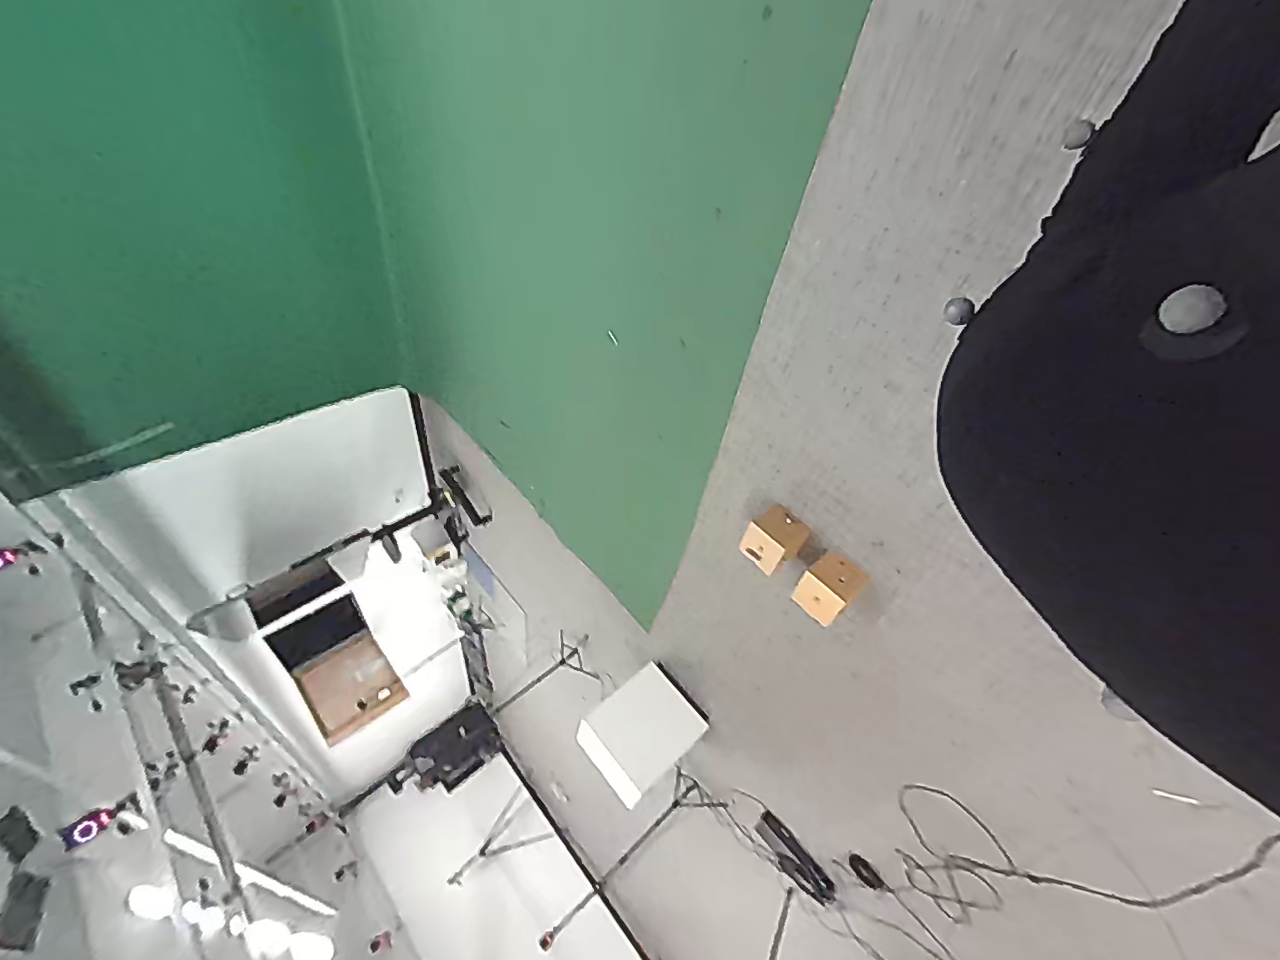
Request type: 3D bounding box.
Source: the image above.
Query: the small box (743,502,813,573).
[{"bbox_3d":[0.528,0.216,2.058,0.168,0.176,0.179,42,142,27],"label":"small box"}]

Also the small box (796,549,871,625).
[{"bbox_3d":[0.702,0.379,1.945,0.168,0.176,0.179,42,143,27],"label":"small box"}]
